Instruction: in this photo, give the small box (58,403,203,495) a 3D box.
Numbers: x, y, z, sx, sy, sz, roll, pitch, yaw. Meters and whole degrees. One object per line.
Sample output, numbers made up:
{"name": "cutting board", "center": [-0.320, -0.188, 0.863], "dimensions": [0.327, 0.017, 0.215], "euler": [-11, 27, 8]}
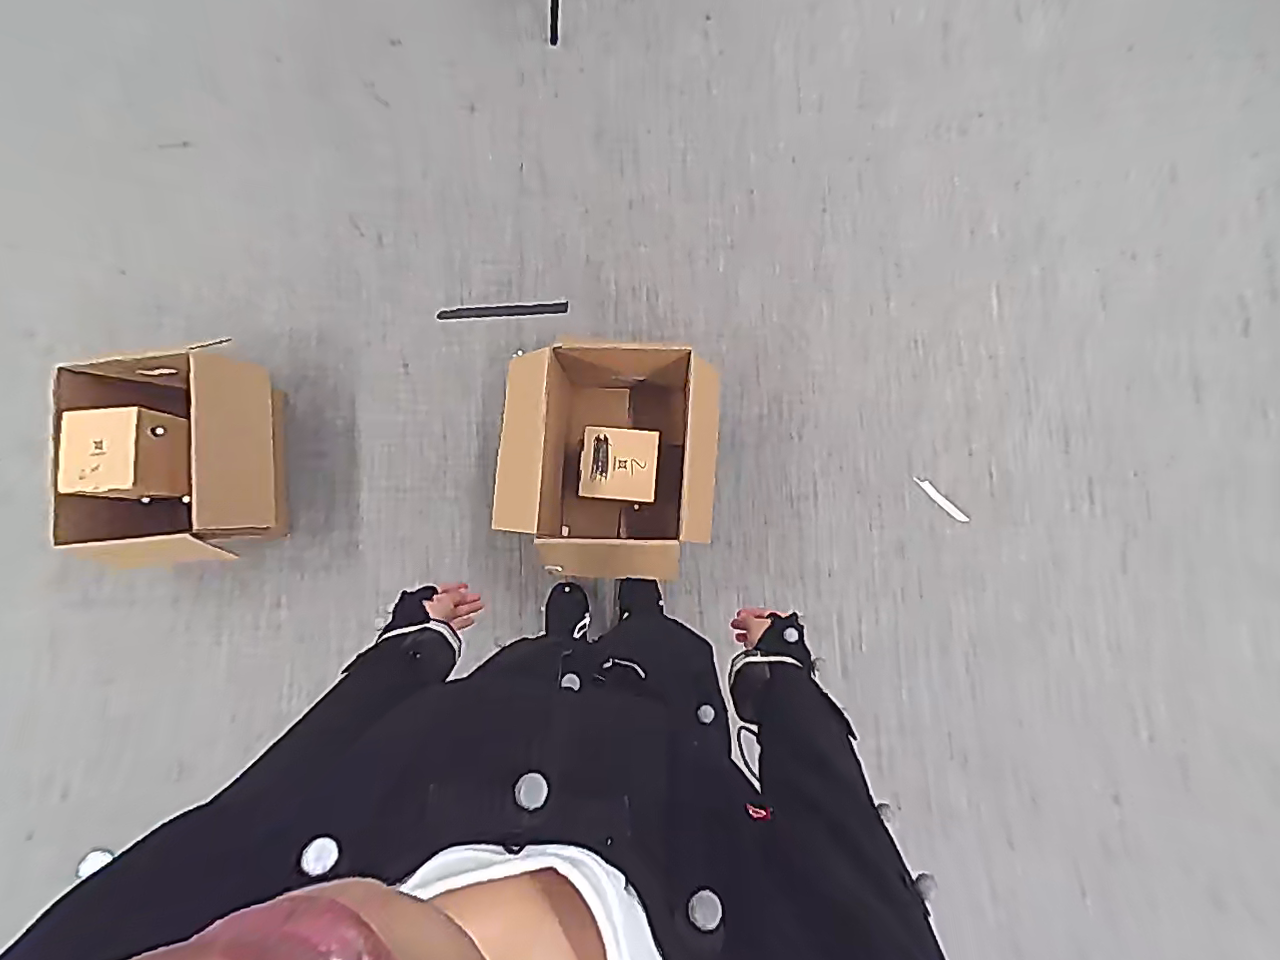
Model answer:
{"name": "small box", "center": [-1.117, -0.063, 1.200], "dimensions": [0.168, 0.176, 0.179], "euler": [-3, 84, 3]}
